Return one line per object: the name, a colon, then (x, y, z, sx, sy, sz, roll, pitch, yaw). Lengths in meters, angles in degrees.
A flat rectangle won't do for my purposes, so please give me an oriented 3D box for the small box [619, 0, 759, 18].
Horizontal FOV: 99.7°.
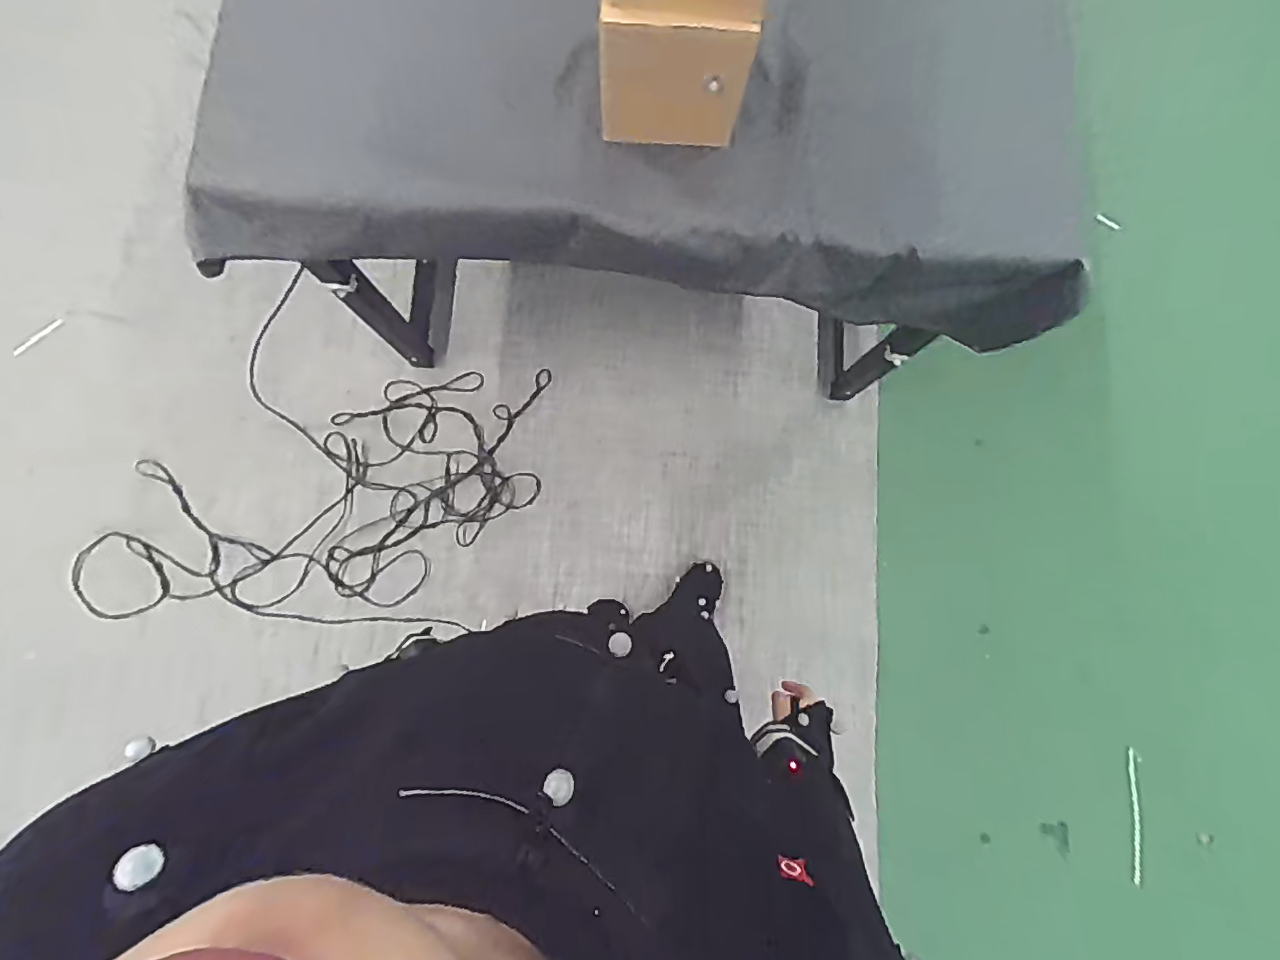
small box: (0.051, -0.597, 0.519, 0.179, 0.176, 0.168, 4, 81, -3)
